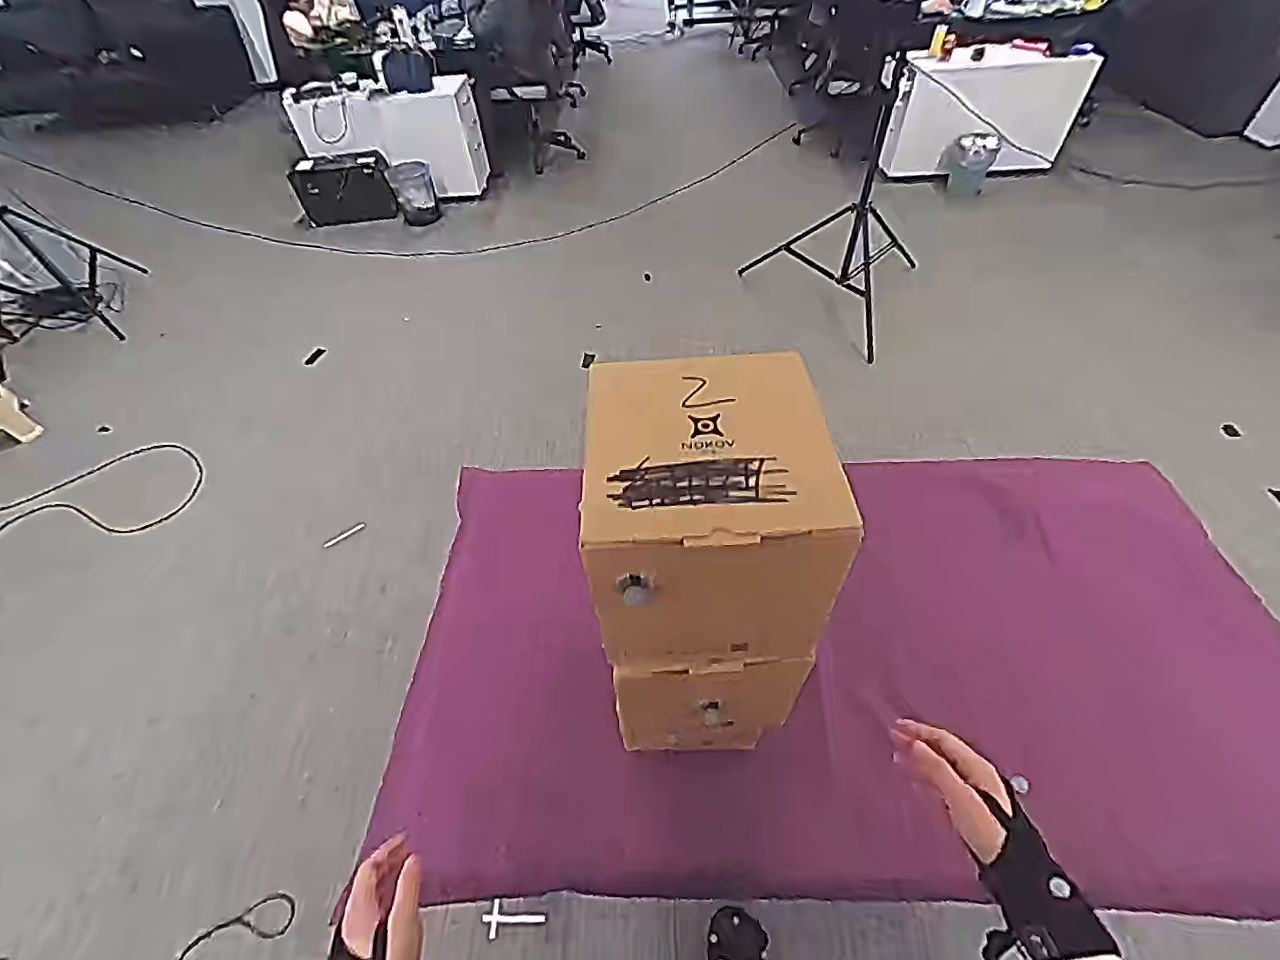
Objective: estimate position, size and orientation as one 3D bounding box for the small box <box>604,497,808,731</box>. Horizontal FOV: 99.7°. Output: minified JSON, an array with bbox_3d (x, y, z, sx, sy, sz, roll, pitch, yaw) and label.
[{"bbox_3d":[0.055,0.142,0.549,0.168,0.176,0.179,-5,50,-1],"label":"small box"}]

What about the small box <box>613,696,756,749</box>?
[{"bbox_3d":[0.059,0.231,0.687,0.168,0.176,0.179,-2,49,2],"label":"small box"}]
